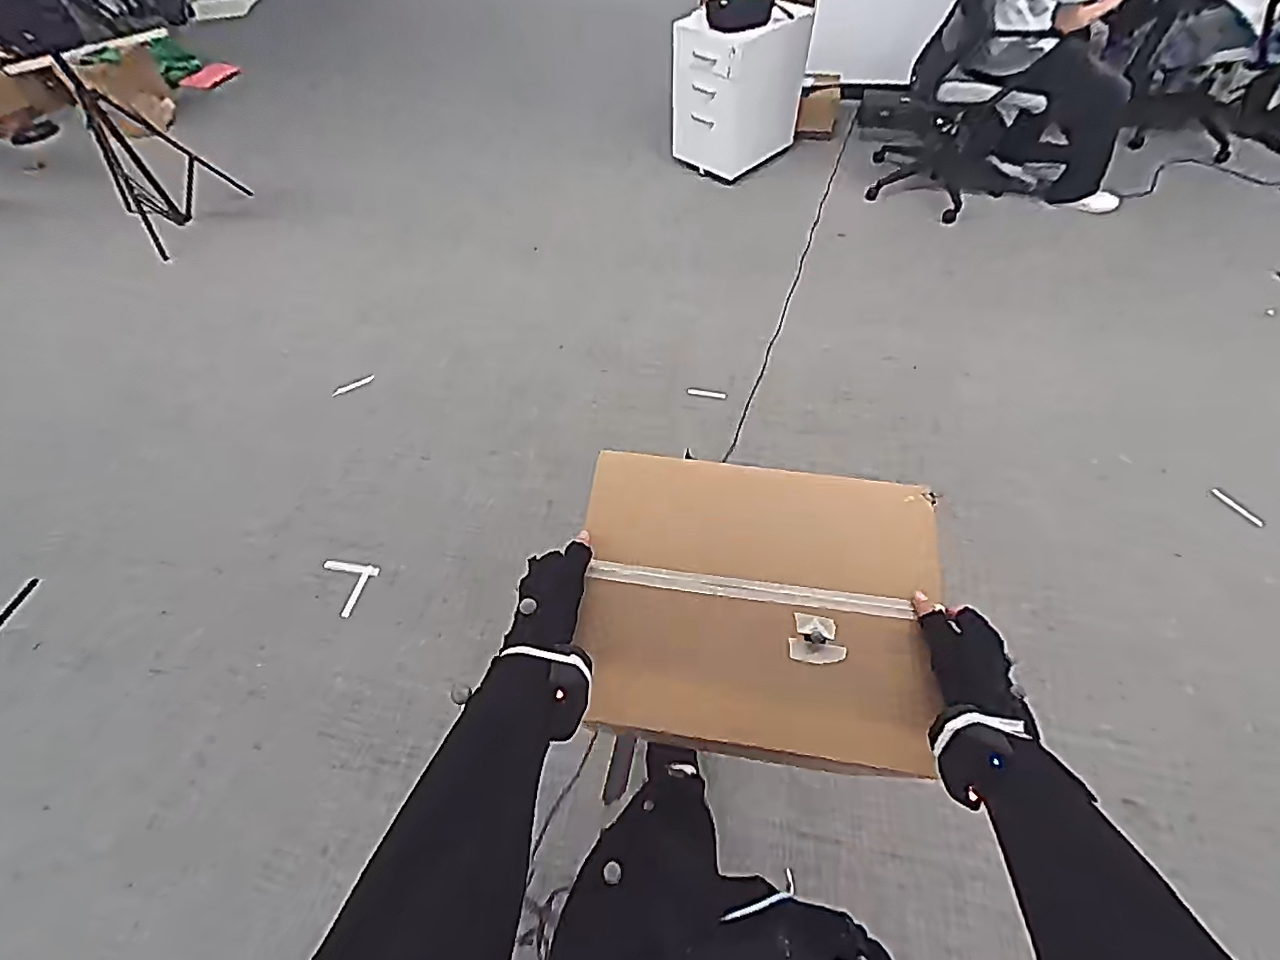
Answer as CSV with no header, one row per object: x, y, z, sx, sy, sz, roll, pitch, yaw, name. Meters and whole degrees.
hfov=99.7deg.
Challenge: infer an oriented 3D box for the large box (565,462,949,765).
0.135,0.198,0.755,0.408,0.320,0.320,7,63,5,large box
